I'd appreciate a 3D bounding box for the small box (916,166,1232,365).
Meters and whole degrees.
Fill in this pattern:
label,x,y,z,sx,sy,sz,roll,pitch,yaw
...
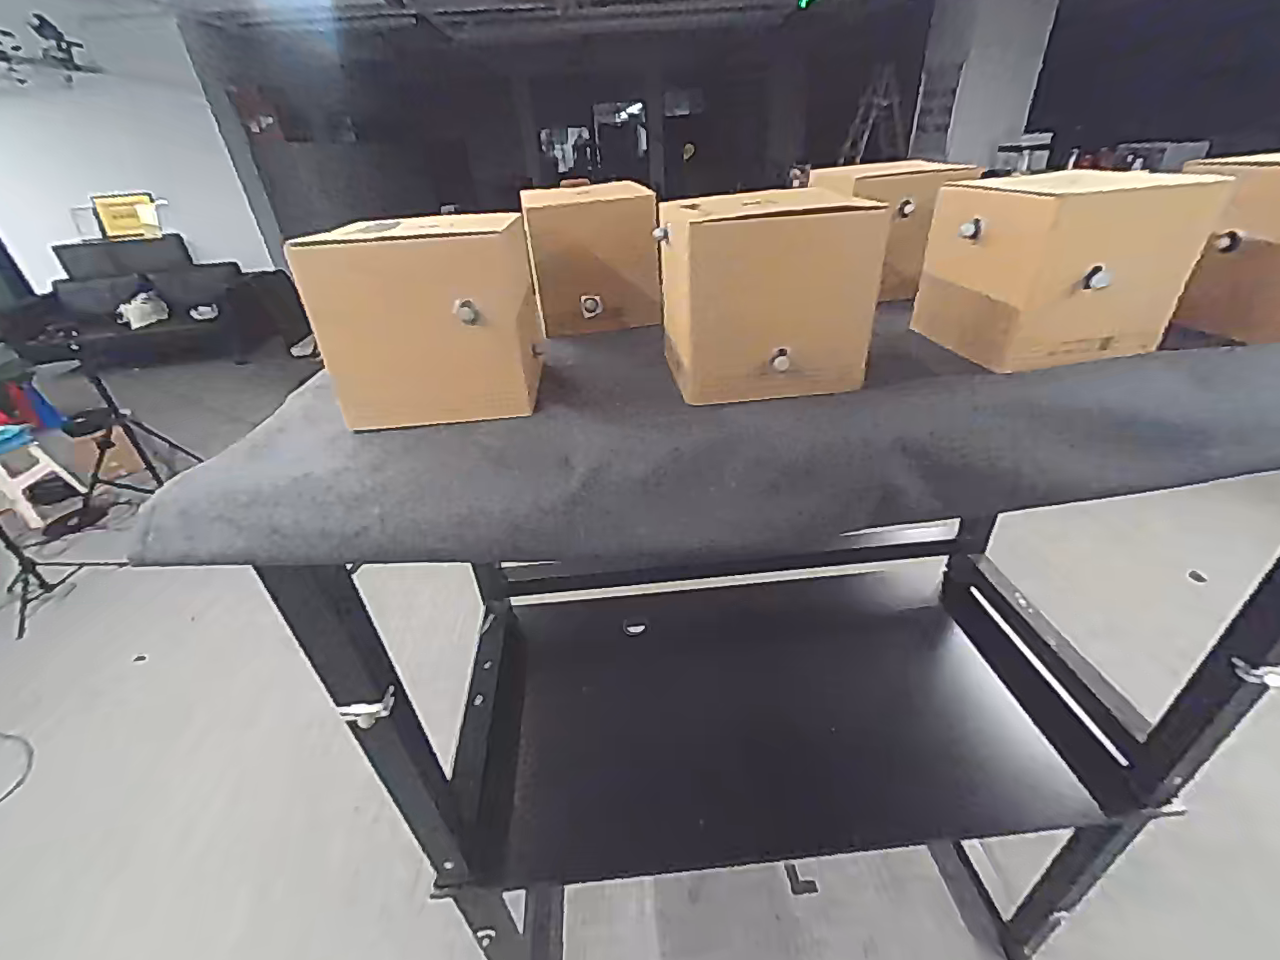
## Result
label,x,y,z,sx,sy,sz,roll,pitch,yaw
small box,0.425,-0.225,0.571,0.168,0.176,0.179,-7,31,-4

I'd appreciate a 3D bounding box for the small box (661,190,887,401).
label,x,y,z,sx,sy,sz,roll,pitch,yaw
small box,0.118,-0.192,0.555,0.179,0.176,0.168,-5,32,-3

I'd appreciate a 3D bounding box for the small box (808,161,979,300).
label,x,y,z,sx,sy,sz,roll,pitch,yaw
small box,0.359,-0.373,0.810,0.179,0.176,0.168,-5,33,-2

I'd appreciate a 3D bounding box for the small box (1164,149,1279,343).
label,x,y,z,sx,sy,sz,roll,pitch,yaw
small box,0.699,-0.250,0.573,0.168,0.176,0.179,-9,31,-6

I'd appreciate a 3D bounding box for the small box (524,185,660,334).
label,x,y,z,sx,sy,sz,roll,pitch,yaw
small box,-0.070,-0.319,0.777,0.168,0.176,0.179,-10,33,-7
